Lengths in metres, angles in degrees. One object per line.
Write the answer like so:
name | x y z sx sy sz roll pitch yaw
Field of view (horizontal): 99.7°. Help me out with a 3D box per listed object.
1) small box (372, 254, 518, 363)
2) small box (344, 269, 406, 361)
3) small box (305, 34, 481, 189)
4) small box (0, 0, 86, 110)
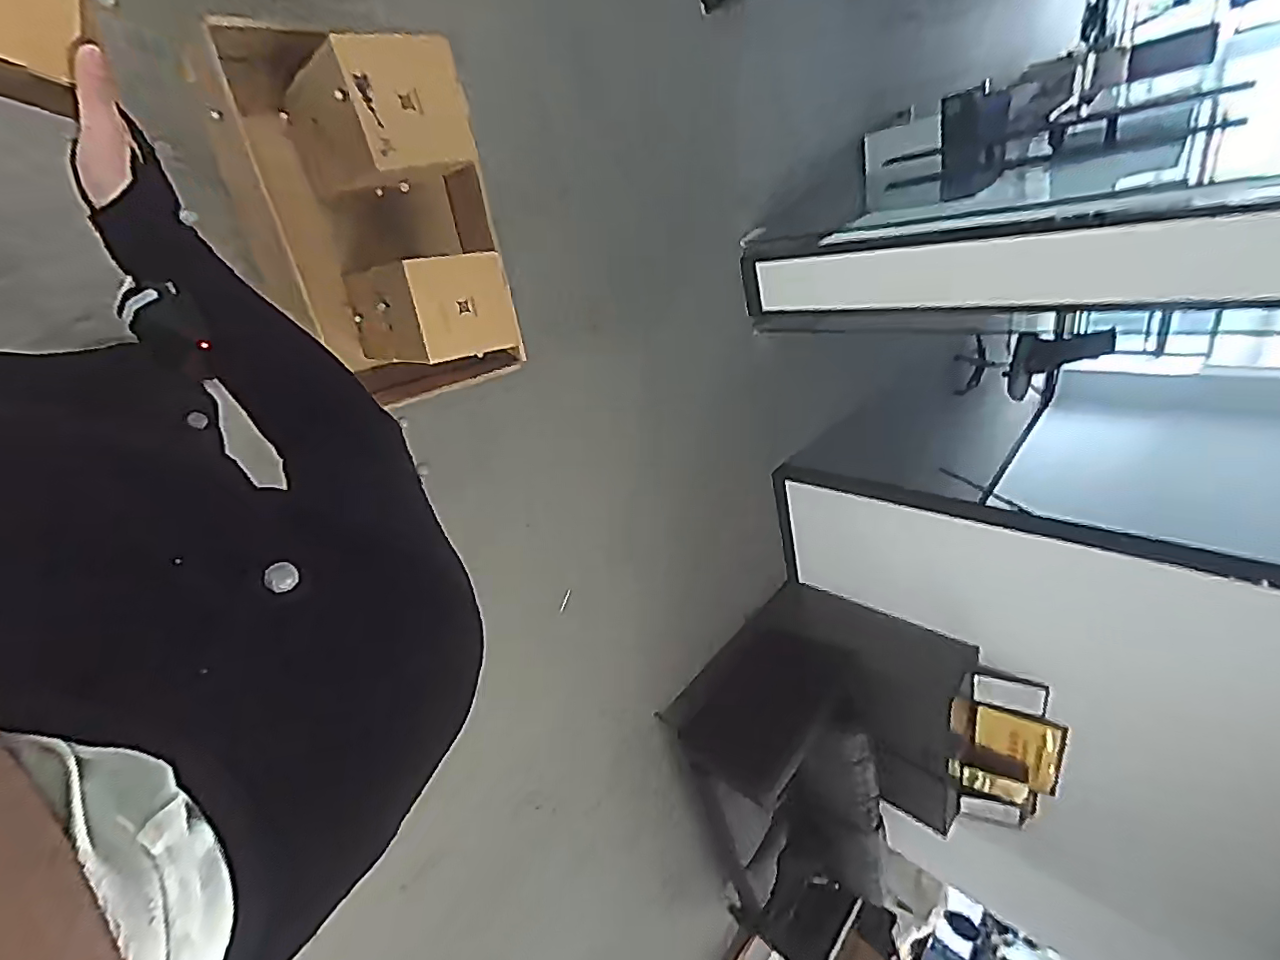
small box | -0.352 -0.314 0.981 0.179 0.176 0.168 -25 118 -38
small box | -0.464 -0.342 1.095 0.179 0.176 0.168 -24 118 -38
small box | -0.392 -0.577 0.862 0.179 0.176 0.168 -32 122 -35
small box | -0.503 -0.392 0.372 0.168 0.176 0.179 -2 111 -45
